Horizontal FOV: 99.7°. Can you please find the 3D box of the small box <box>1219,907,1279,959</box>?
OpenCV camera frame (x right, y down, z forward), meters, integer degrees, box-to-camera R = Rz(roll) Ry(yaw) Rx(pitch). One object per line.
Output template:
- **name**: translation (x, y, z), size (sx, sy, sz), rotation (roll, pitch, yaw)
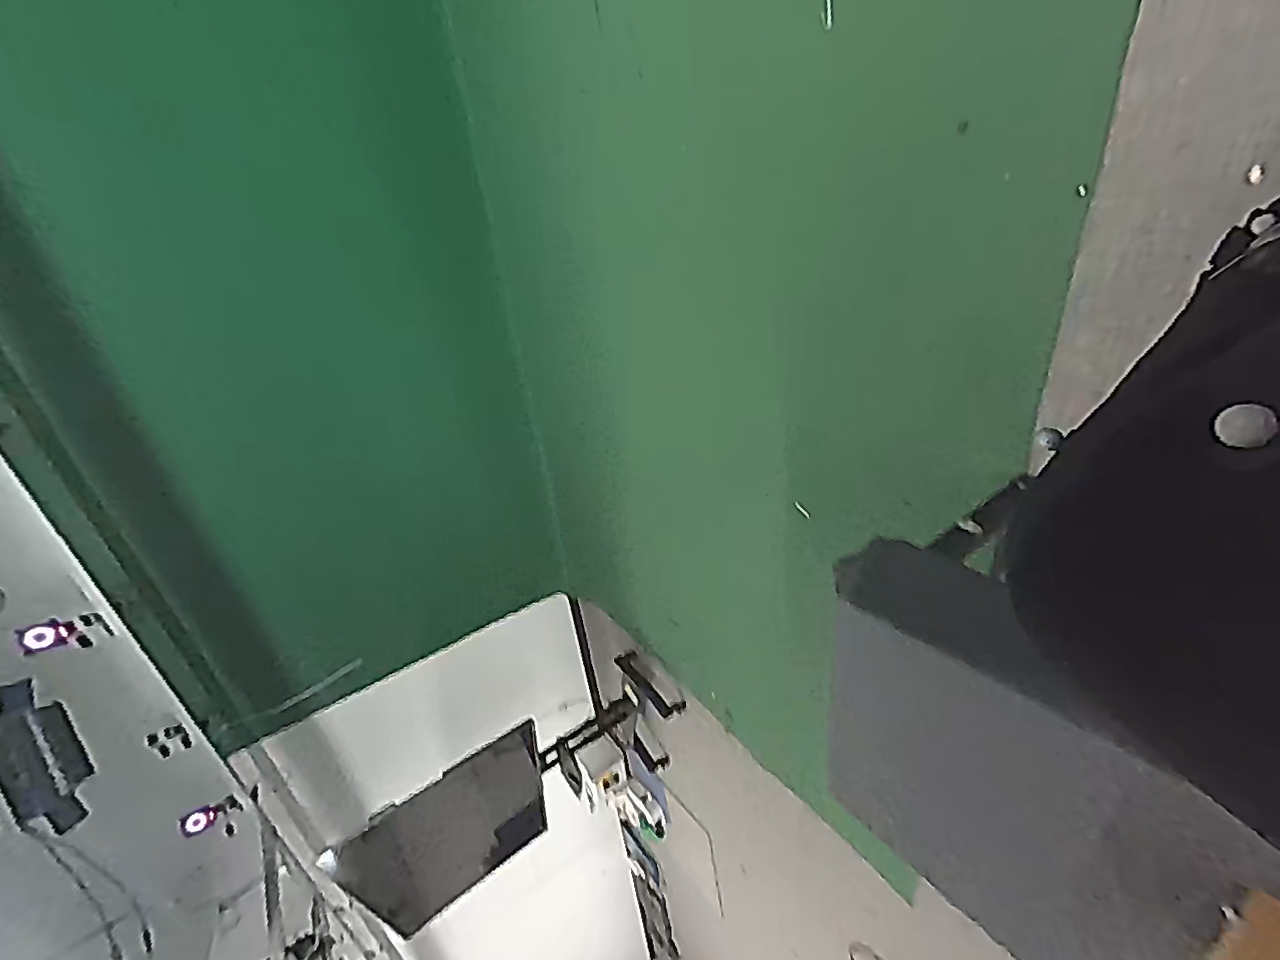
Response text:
- **small box**: translation (0.727, 0.602, 0.564), size (0.179, 0.176, 0.168), rotation (26, 133, 49)
